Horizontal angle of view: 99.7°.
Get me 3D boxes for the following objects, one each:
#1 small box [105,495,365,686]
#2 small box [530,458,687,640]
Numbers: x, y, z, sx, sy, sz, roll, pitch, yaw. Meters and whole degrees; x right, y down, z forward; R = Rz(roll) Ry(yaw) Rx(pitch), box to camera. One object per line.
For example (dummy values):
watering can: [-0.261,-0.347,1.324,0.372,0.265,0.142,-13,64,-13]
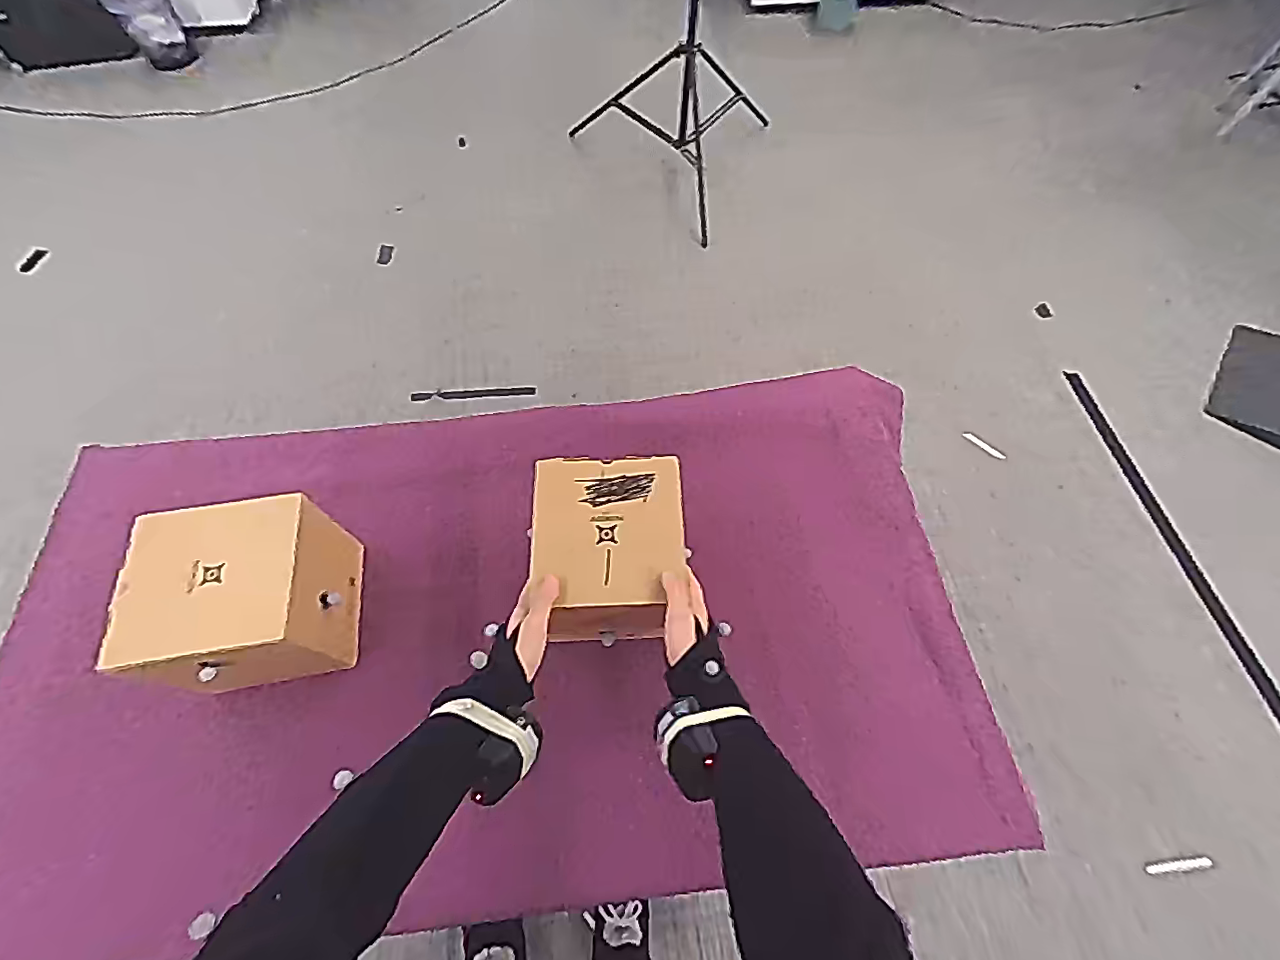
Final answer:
small box: [-0.447,0.136,0.635,0.179,0.176,0.168,-9,63,-5]
small box: [-0.036,0.089,0.664,0.168,0.176,0.179,-2,63,-1]
